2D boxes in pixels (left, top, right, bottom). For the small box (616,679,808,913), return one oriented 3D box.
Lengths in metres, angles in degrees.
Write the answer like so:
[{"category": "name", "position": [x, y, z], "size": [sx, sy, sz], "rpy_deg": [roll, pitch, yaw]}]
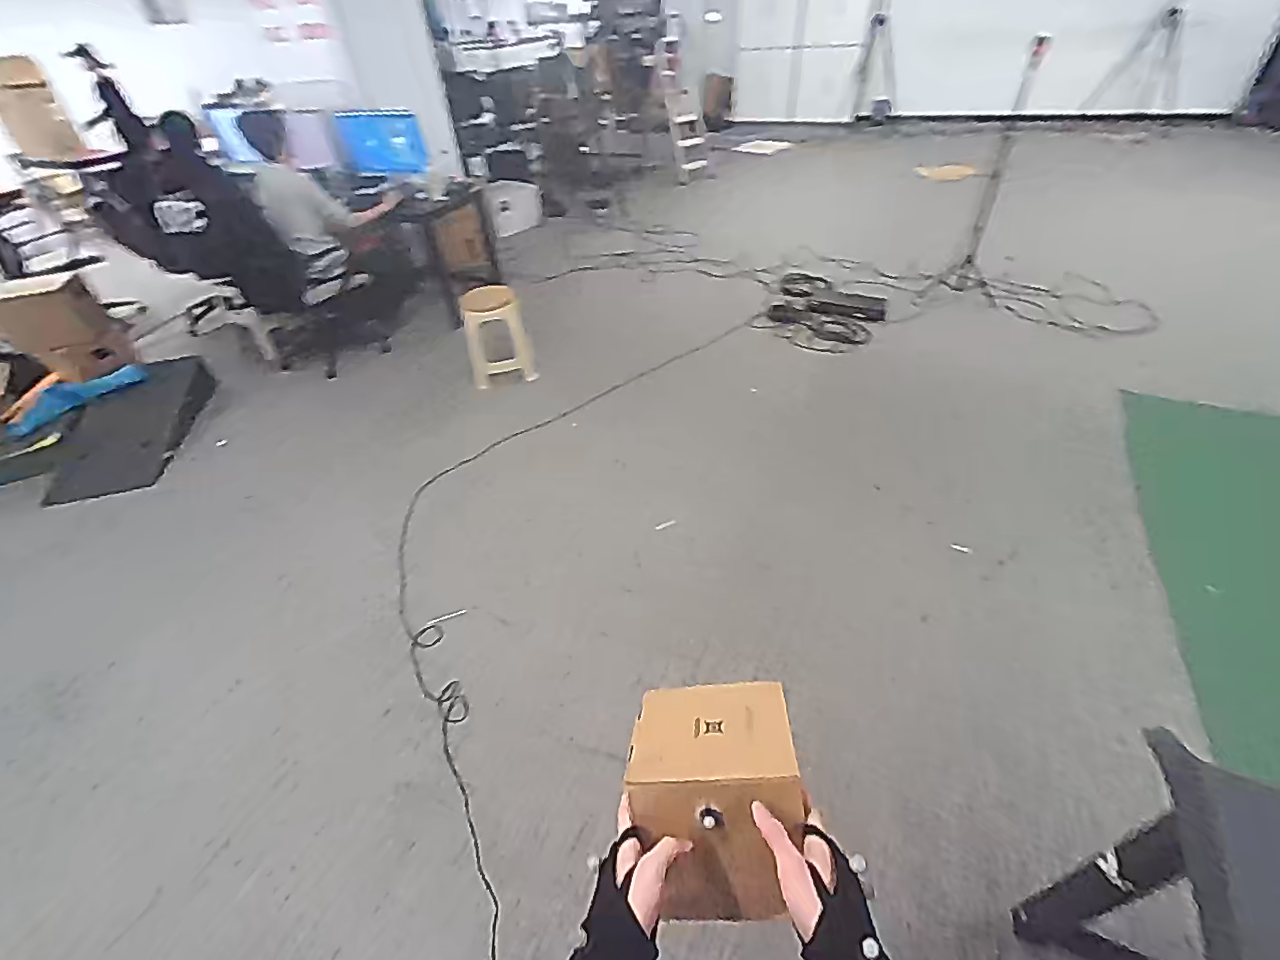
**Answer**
[{"category": "small box", "position": [0.084, 0.354, 0.621], "size": [0.179, 0.176, 0.168], "rpy_deg": [-8, 10, 9]}]
